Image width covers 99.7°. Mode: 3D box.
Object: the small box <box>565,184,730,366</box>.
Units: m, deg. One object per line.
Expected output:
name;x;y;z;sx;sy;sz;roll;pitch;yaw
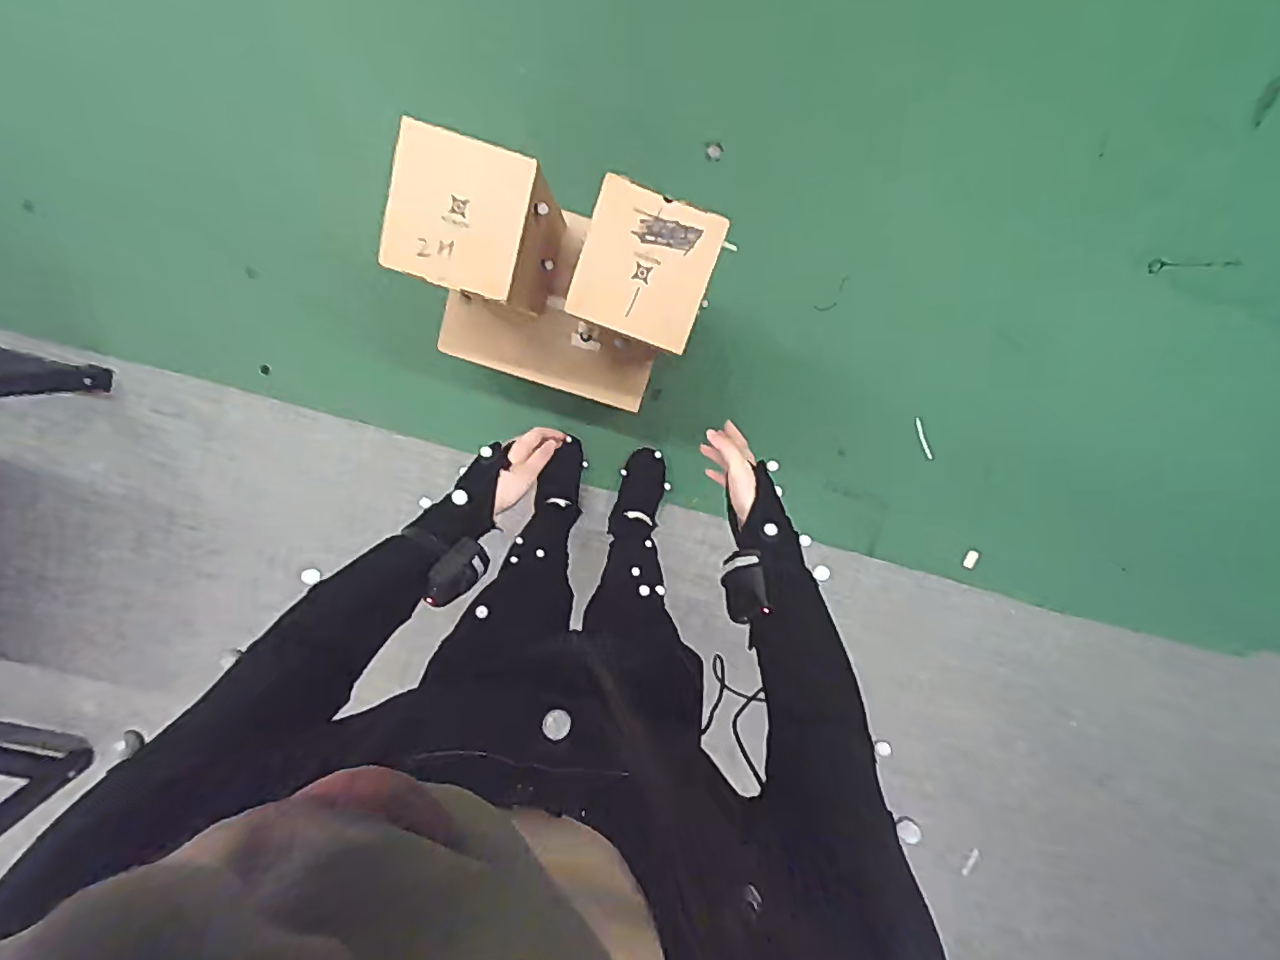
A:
small box;0.007;-0.271;0.755;0.168;0.176;0.179;20;102;-4

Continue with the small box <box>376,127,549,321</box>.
small box;-0.228;-0.331;0.740;0.168;0.176;0.179;16;101;-5

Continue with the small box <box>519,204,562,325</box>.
small box;-0.233;-0.370;0.900;0.168;0.176;0.179;17;102;-5

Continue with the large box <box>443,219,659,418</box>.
large box;-0.151;-0.346;1.155;0.408;0.320;0.320;16;102;-5
